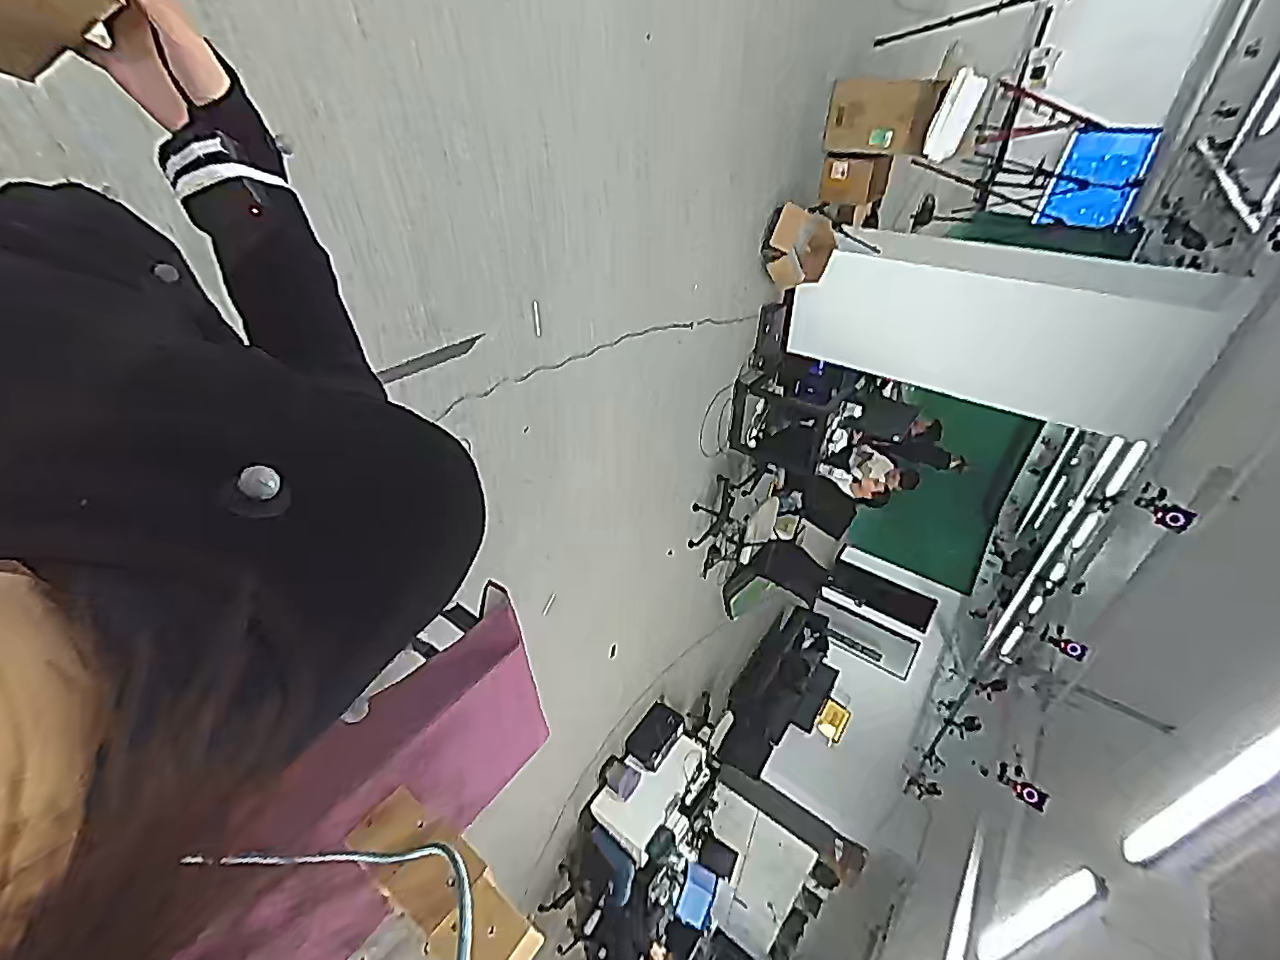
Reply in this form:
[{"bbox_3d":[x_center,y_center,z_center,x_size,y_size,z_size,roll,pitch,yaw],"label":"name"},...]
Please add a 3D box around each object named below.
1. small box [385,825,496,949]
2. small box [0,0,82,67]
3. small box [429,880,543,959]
[{"bbox_3d":[-0.477,0.987,1.305,0.179,0.176,0.168,-37,140,-41],"label":"small box"},{"bbox_3d":[-0.455,-0.379,0.302,0.179,0.176,0.168,-18,106,-62],"label":"small box"},{"bbox_3d":[-0.349,1.061,1.234,0.168,0.176,0.179,-44,146,-35],"label":"small box"}]
